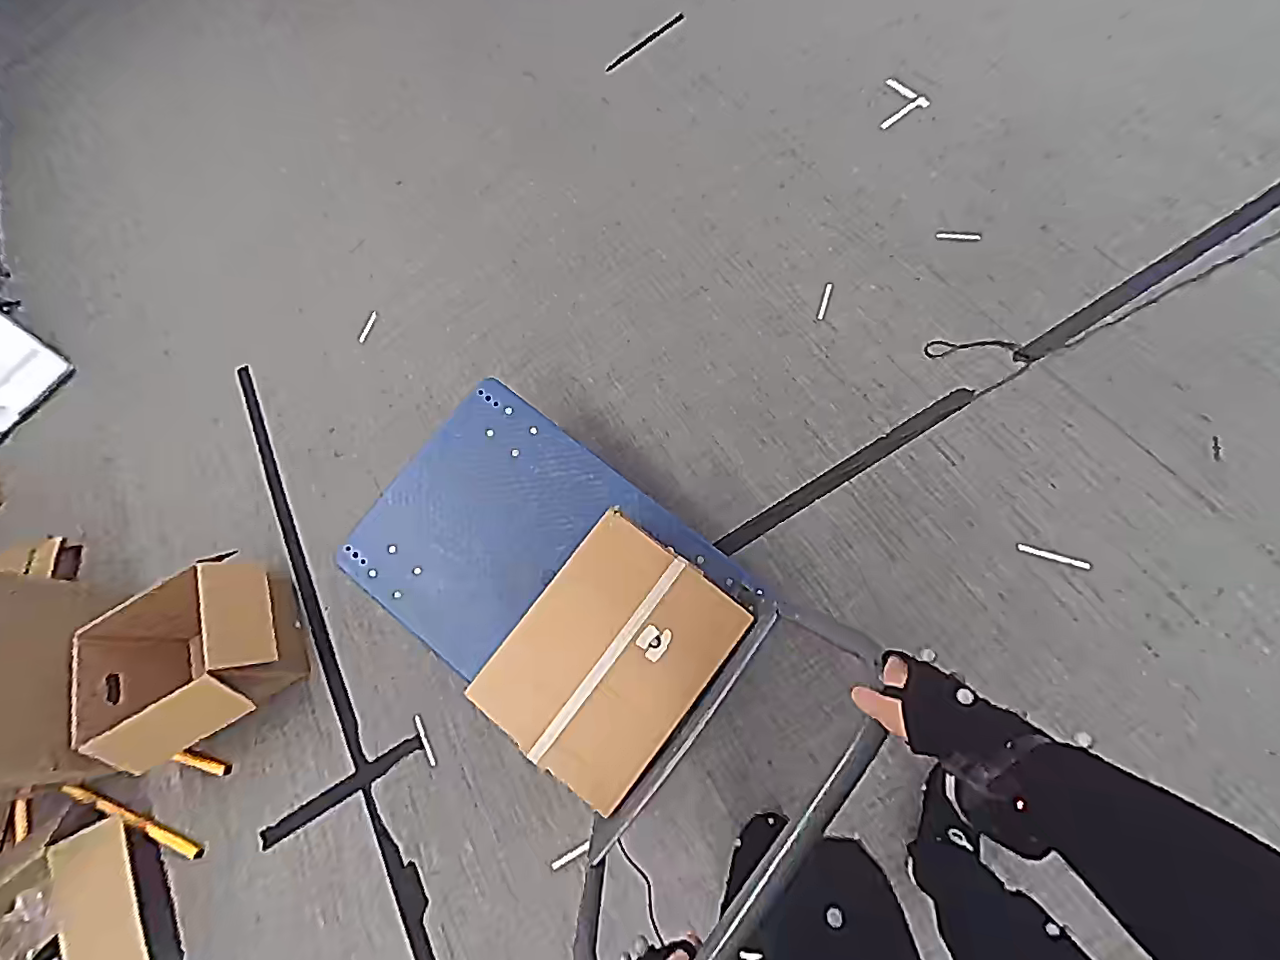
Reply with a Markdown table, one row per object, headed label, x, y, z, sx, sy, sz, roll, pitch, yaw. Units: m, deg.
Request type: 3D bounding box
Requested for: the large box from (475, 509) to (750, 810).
| label | x | y | z | sx | sy | sz | roll | pitch | yaw |
| --- | --- | --- | --- | --- | --- | --- | --- | --- | --- |
| large box | -0.042 | 0.323 | 1.066 | 0.320 | 0.320 | 0.408 | 37 | 83 | 7 |
